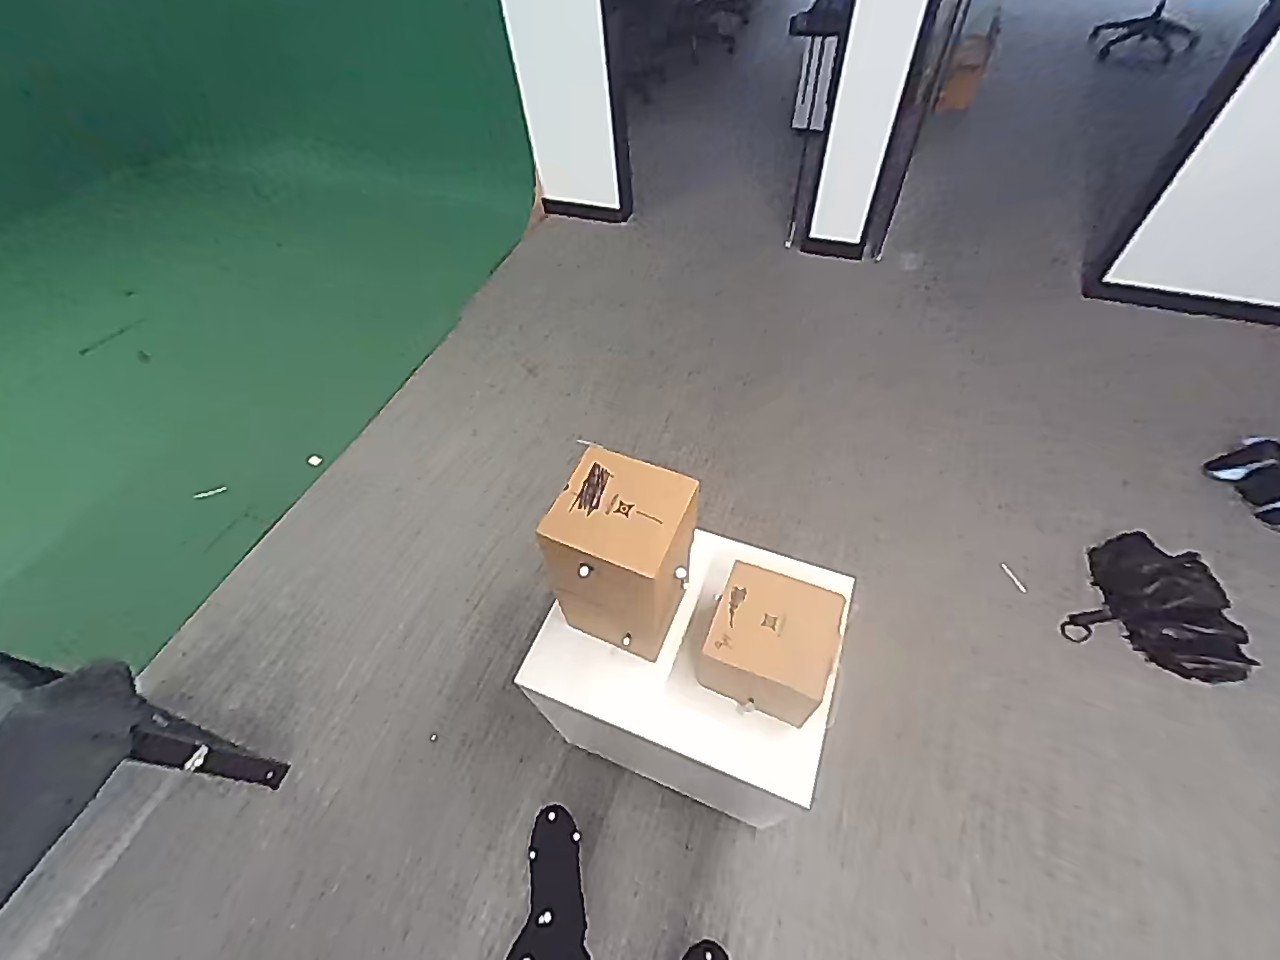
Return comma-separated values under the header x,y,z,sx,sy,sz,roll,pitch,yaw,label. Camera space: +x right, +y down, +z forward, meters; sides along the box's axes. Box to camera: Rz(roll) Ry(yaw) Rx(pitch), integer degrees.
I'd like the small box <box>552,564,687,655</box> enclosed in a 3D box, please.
x,y,z,sx,sy,sz,roll,pitch,yaw,label
-0.024,0.179,0.923,0.179,0.176,0.168,18,56,15,small box

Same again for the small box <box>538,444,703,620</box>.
x,y,z,sx,sy,sz,roll,pitch,yaw,label
-0.022,0.081,0.790,0.179,0.176,0.168,20,57,14,small box

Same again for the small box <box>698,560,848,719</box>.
x,y,z,sx,sy,sz,roll,pitch,yaw,label
0.203,0.258,0.854,0.179,0.176,0.168,19,58,15,small box
